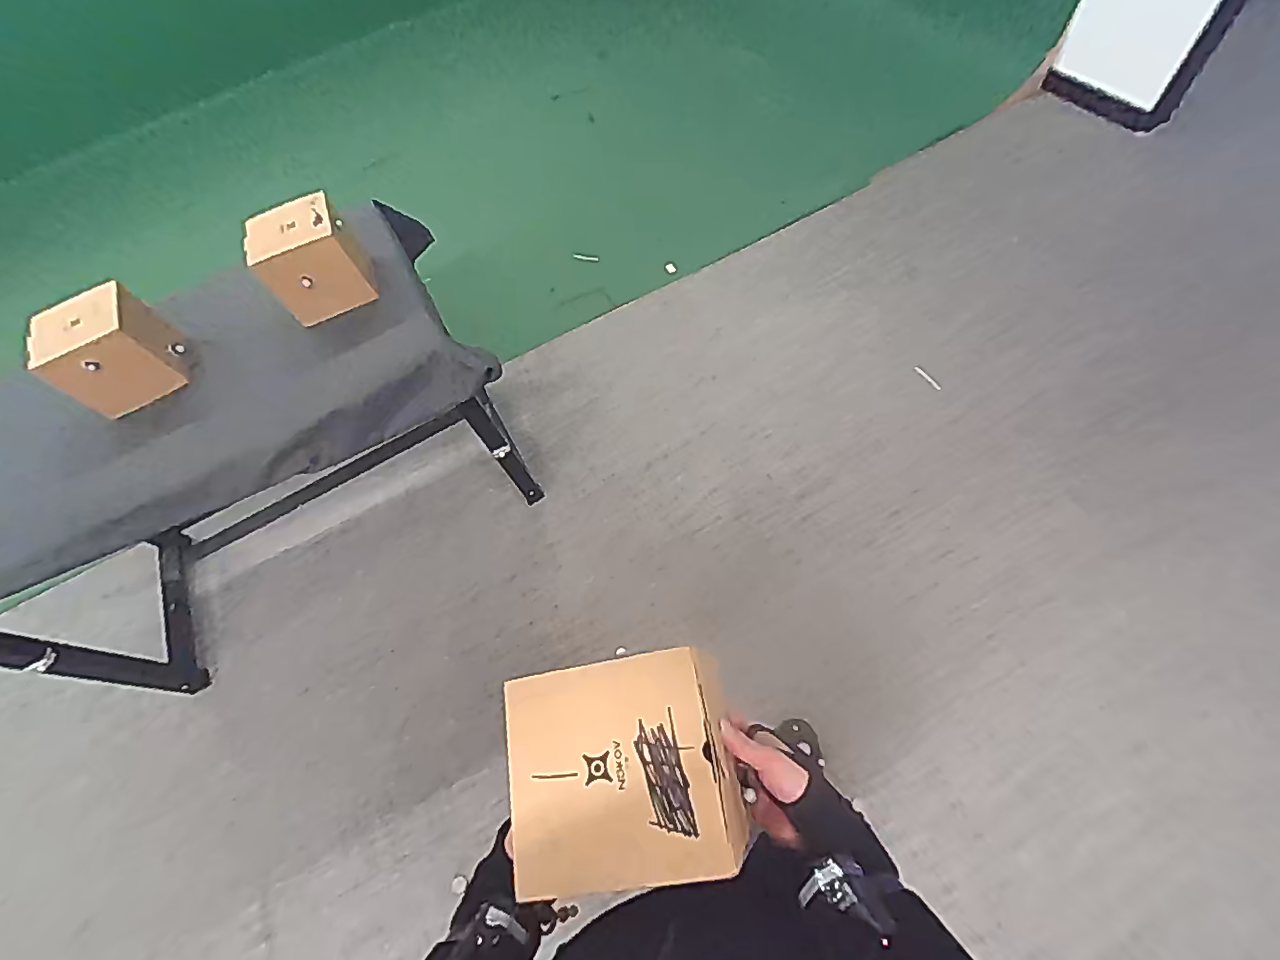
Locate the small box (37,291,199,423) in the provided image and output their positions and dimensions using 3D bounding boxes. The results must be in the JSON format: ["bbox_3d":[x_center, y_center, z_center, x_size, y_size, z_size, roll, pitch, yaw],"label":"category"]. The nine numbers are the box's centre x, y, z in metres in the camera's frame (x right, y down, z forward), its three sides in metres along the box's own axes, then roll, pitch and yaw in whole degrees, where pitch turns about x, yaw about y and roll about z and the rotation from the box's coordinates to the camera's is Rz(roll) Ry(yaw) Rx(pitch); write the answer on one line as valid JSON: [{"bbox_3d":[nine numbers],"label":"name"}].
[{"bbox_3d":[-1.075,-0.248,1.125,0.179,0.176,0.168,-29,62,-8],"label":"small box"}]

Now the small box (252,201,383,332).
[{"bbox_3d":[-0.692,-0.453,1.166,0.179,0.176,0.168,-24,61,-3],"label":"small box"}]
